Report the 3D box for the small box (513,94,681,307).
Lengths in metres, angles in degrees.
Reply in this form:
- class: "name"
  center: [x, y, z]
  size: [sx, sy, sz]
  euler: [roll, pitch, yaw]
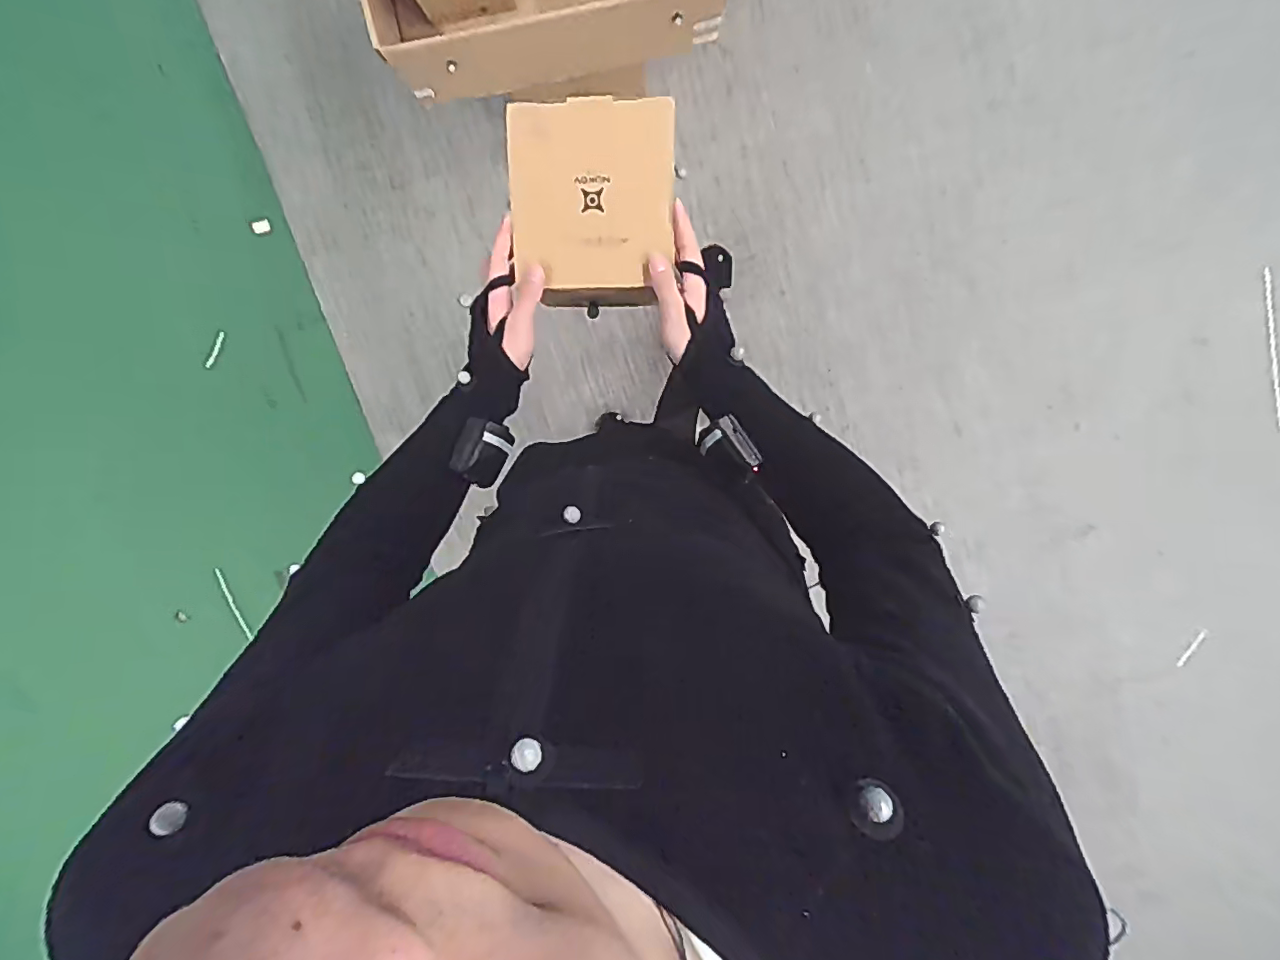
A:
- class: "small box"
  center: [-0.041, -0.300, 0.614]
  size: [0.168, 0.176, 0.179]
  euler: [1, 101, 2]
